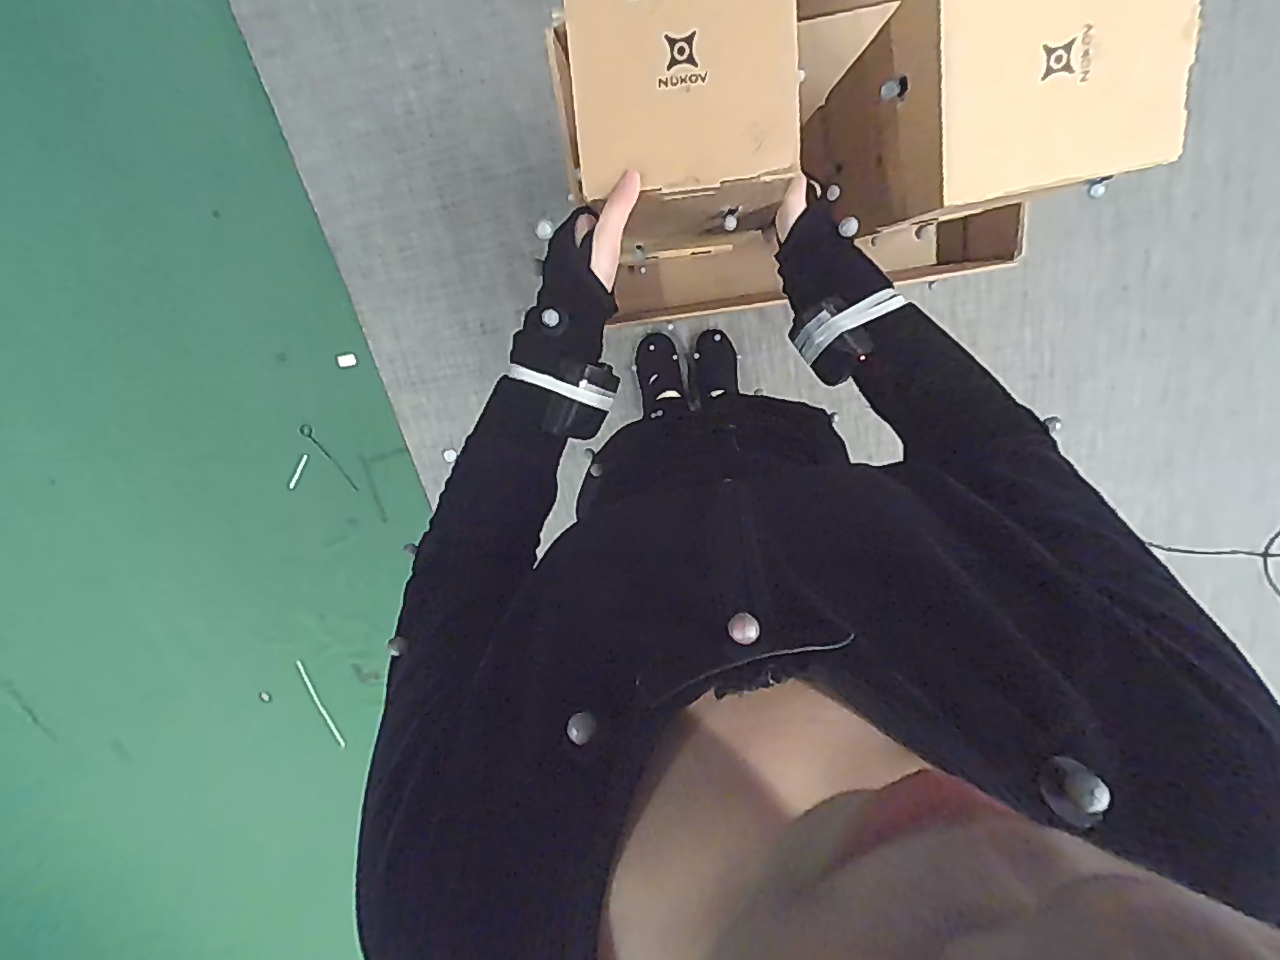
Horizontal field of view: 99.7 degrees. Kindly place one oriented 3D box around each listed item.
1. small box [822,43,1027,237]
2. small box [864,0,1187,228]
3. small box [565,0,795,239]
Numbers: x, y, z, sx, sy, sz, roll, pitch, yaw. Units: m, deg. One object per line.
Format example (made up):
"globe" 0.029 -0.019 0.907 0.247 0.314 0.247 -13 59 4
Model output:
"small box" 0.319 -0.388 0.623 0.168 0.176 0.179 -10 110 6
"small box" 0.308 -0.330 0.471 0.179 0.176 0.168 -10 109 6
"small box" 0.035 -0.320 0.471 0.168 0.176 0.179 -4 101 4
